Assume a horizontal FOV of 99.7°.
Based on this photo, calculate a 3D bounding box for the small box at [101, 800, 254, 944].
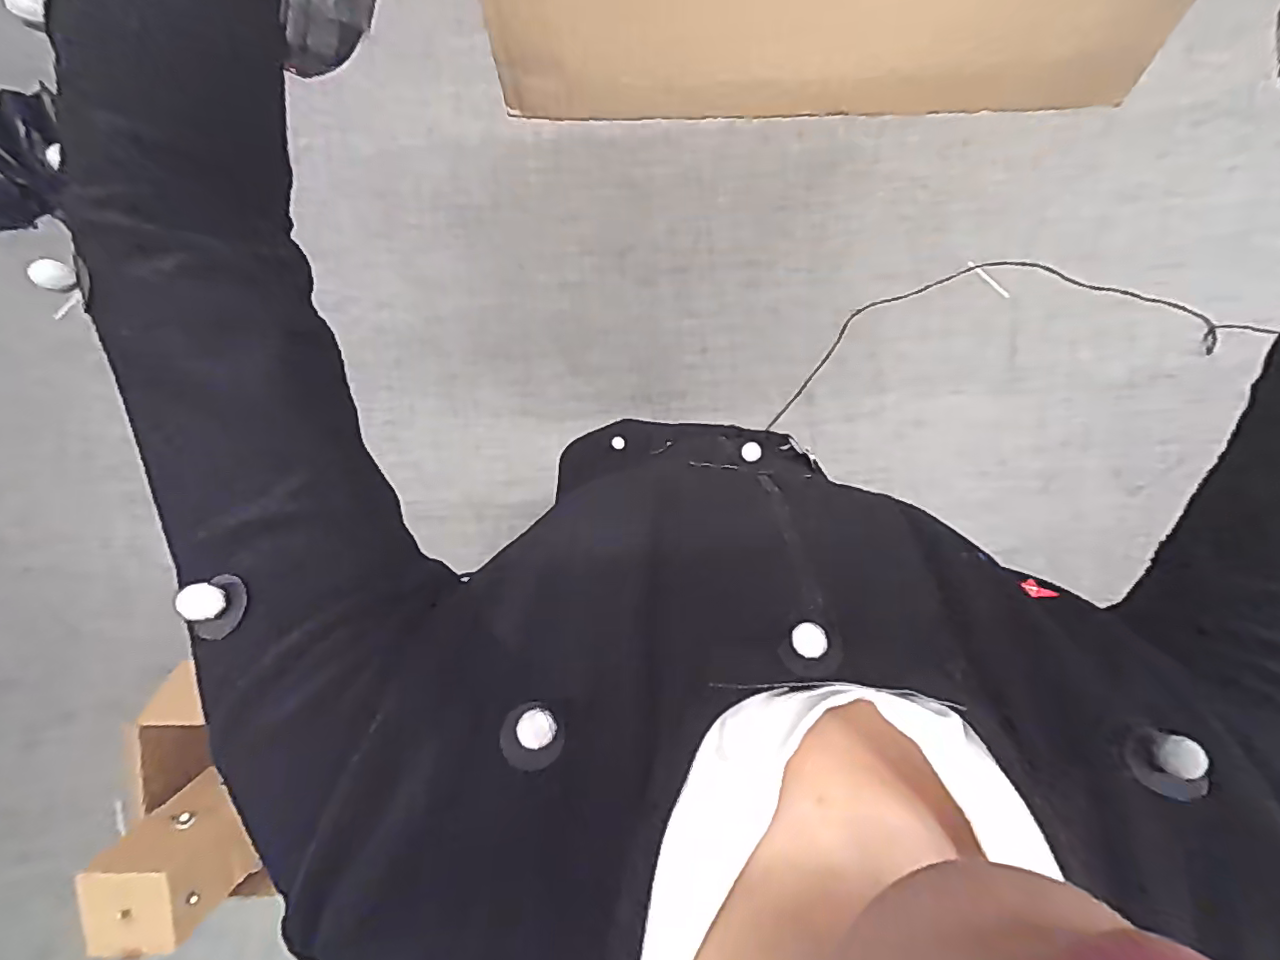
[{"bbox_3d":[-0.925,0.789,1.100,0.168,0.176,0.179,-1,97,-1],"label":"small box"}]
